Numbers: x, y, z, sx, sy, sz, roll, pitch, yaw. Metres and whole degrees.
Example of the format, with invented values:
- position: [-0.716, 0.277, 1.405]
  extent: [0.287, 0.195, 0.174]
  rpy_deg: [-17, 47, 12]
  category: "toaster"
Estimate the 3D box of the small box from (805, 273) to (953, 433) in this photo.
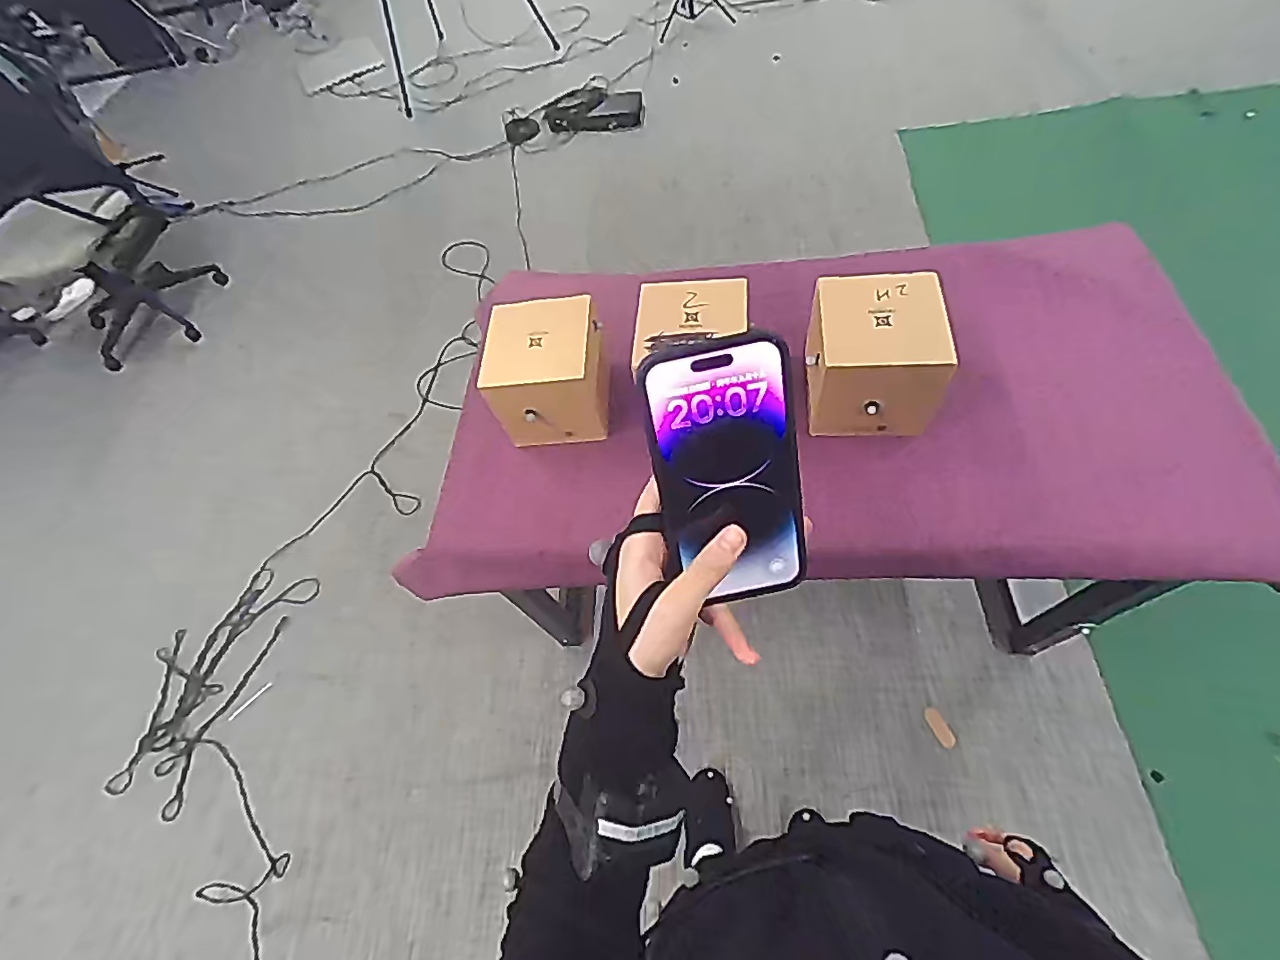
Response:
- position: [0.345, -0.184, 0.816]
  extent: [0.168, 0.176, 0.179]
  rpy_deg: [1, 60, 10]
  category: "small box"

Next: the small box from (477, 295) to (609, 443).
- position: [-0.149, -0.174, 0.898]
  extent: [0.168, 0.176, 0.179]
  rpy_deg: [-4, 59, 8]
  category: "small box"
